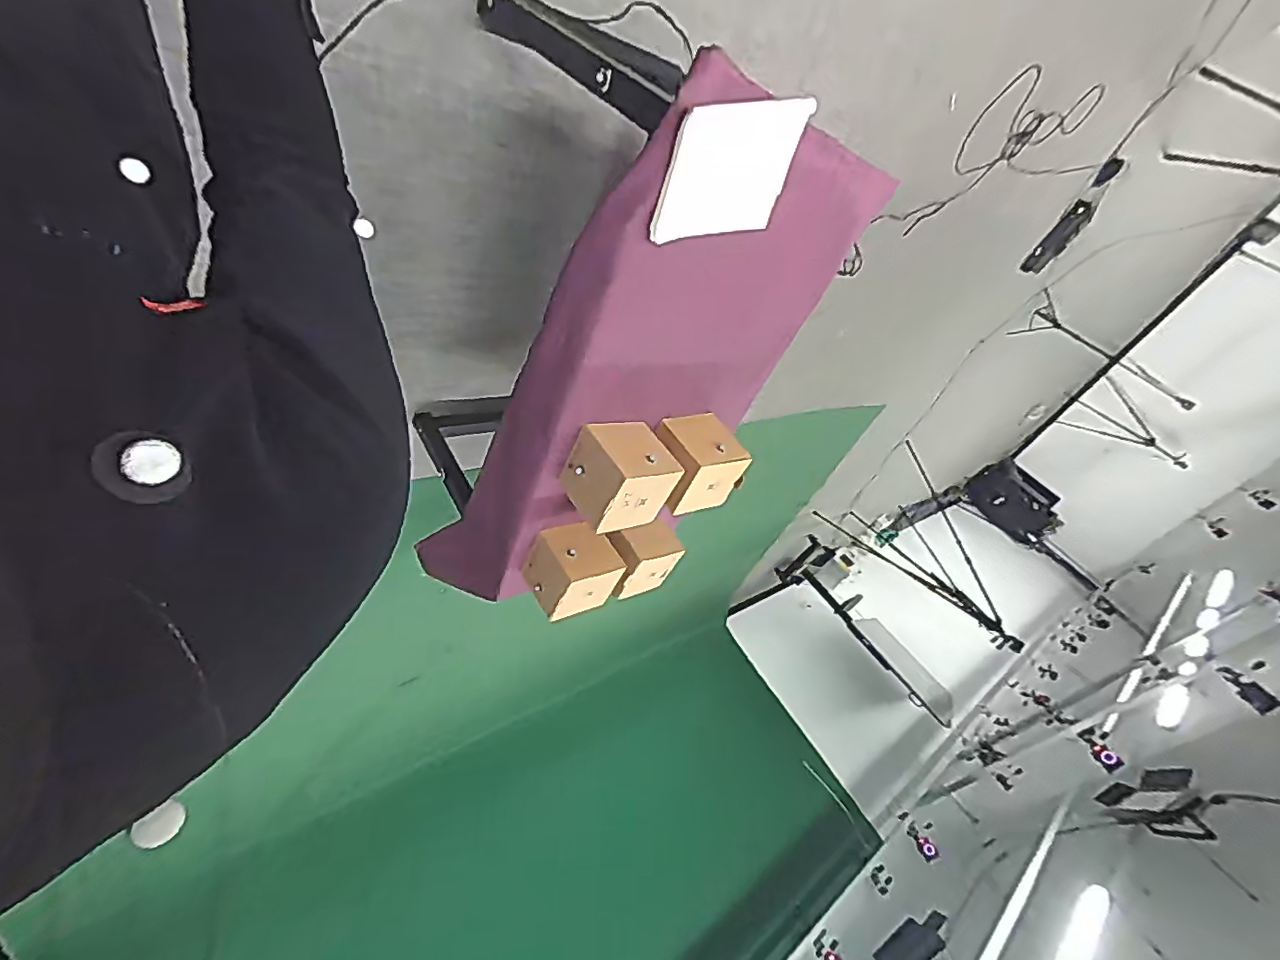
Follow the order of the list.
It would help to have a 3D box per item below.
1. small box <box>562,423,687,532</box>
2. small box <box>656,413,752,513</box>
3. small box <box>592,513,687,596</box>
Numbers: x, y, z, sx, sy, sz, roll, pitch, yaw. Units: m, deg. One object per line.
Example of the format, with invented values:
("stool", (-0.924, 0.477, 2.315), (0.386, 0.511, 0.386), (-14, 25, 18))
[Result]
("small box", (-0.038, -0.013, 1.182), (0.179, 0.176, 0.168), (-8, 139, -43))
("small box", (0.133, -0.047, 1.331), (0.179, 0.176, 0.168), (-12, 142, -39))
("small box", (-0.007, 0.198, 1.521), (0.179, 0.176, 0.168), (-5, 138, -44))
